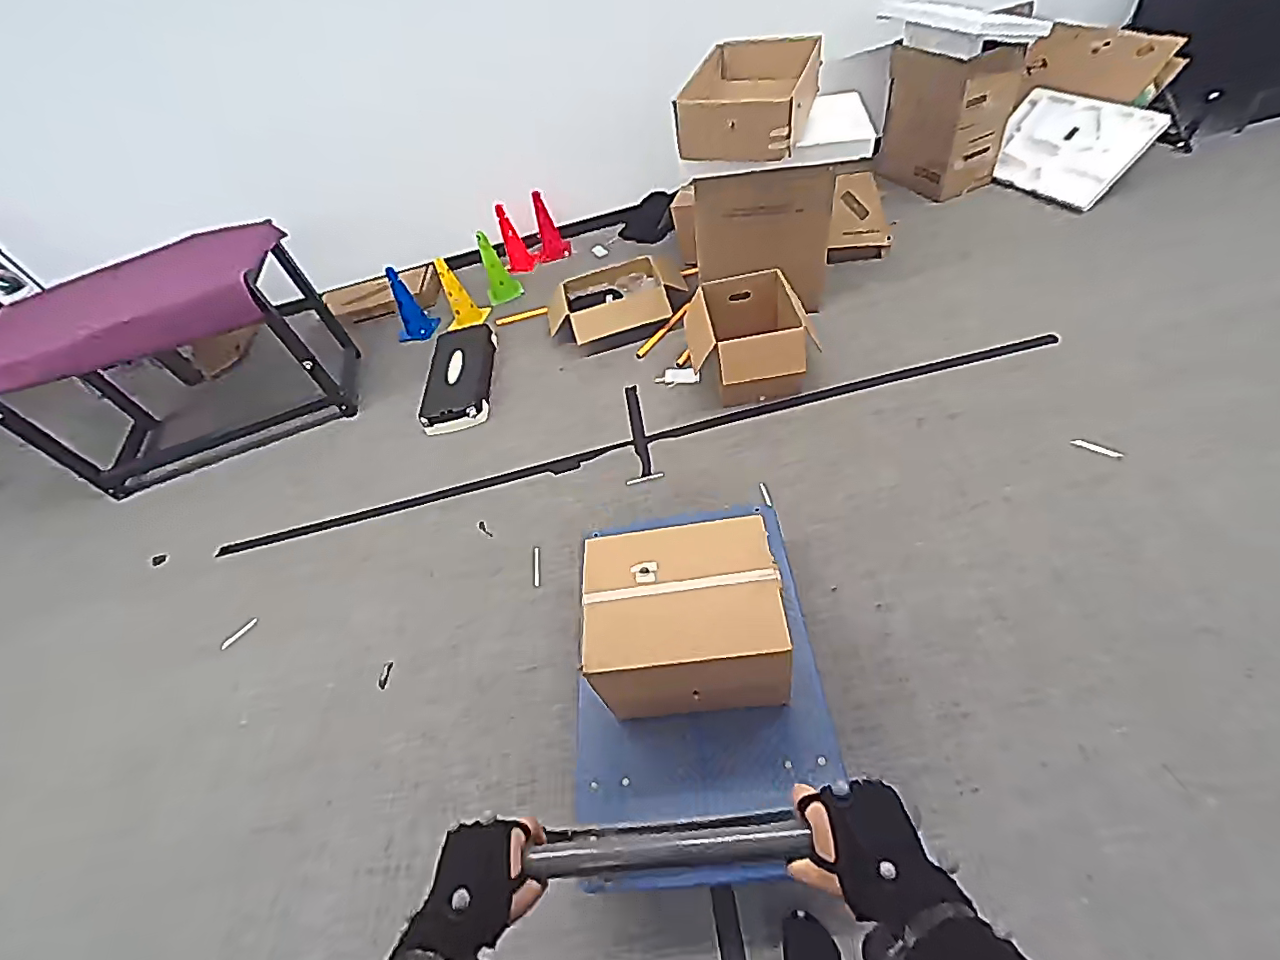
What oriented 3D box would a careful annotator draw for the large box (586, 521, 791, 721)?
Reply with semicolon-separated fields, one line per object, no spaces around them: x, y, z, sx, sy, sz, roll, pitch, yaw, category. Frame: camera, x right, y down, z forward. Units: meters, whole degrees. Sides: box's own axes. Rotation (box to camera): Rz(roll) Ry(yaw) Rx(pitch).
0.112;0.335;1.247;0.408;0.320;0.320;-10;48;7;large box
